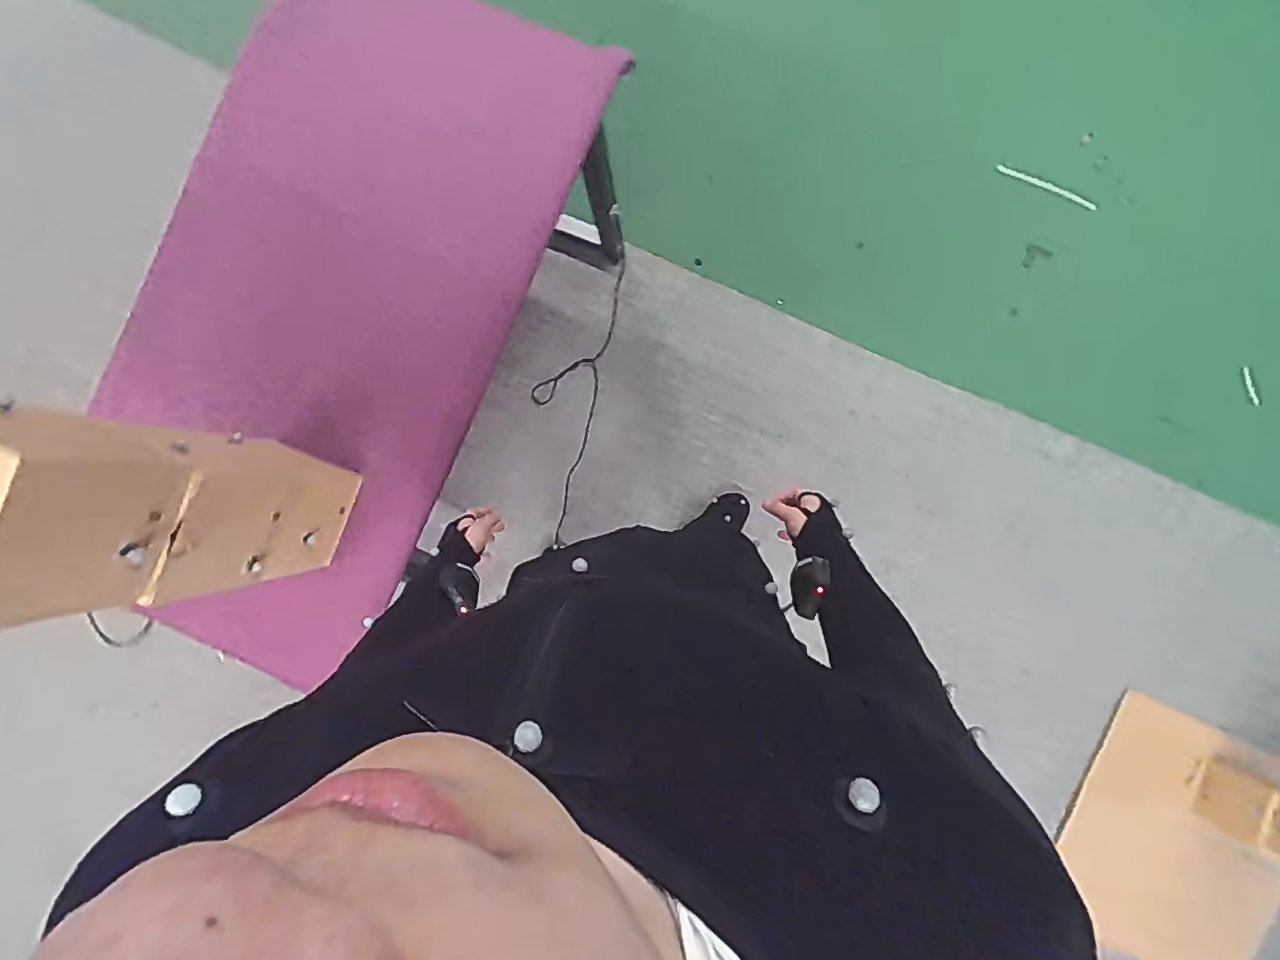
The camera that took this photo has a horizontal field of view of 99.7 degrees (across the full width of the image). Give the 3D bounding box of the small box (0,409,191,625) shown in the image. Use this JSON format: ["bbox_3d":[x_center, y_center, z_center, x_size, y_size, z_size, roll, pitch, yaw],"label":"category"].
[{"bbox_3d":[-0.608,0.031,0.527,0.179,0.176,0.168,22,90,4],"label":"small box"}]

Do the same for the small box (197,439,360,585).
[{"bbox_3d":[-0.584,0.045,0.853,0.179,0.176,0.168,21,90,4],"label":"small box"}]

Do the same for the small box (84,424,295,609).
[{"bbox_3d":[-0.591,0.041,0.689,0.179,0.176,0.168,22,90,5],"label":"small box"}]

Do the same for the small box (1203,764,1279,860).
[{"bbox_3d":[1.670,0.885,1.424,0.179,0.176,0.168,17,90,3],"label":"small box"}]
